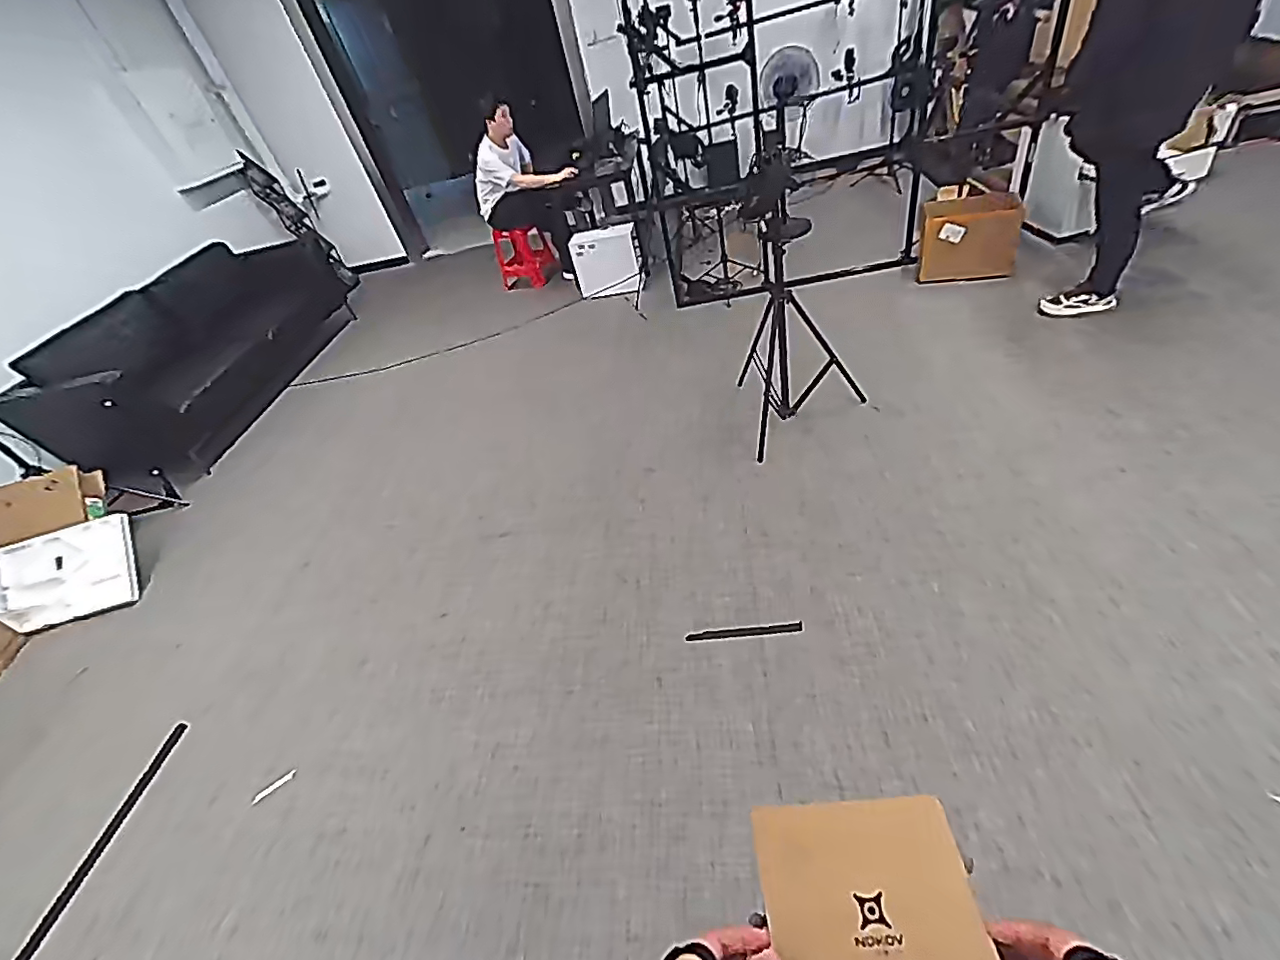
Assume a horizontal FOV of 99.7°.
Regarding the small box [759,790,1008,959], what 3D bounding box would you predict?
[{"bbox_3d":[0.202,0.398,0.474,0.168,0.176,0.179,-10,45,8],"label":"small box"}]
